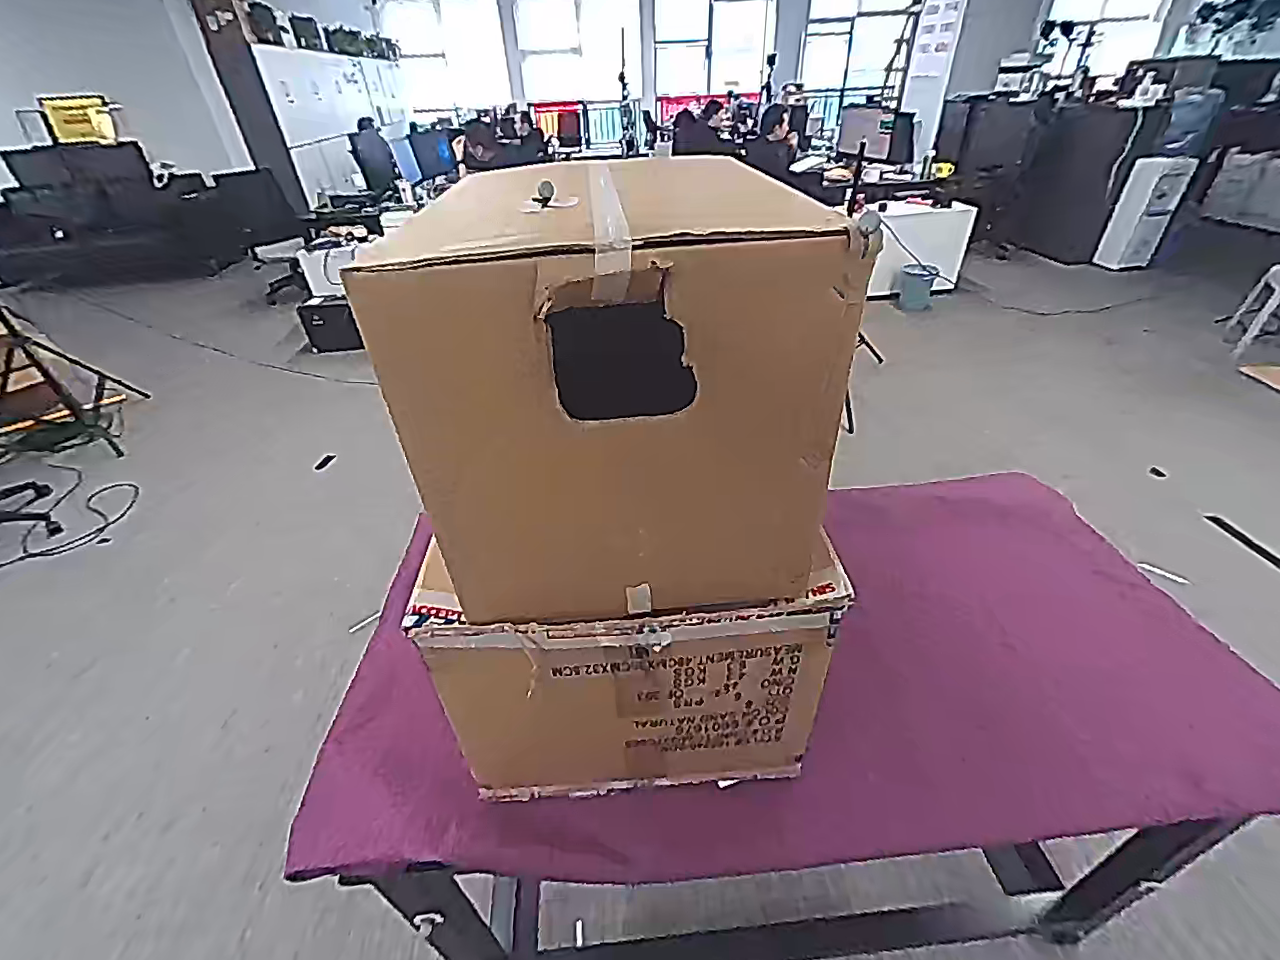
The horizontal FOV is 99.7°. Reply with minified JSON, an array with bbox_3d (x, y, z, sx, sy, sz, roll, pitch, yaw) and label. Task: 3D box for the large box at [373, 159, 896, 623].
[{"bbox_3d":[-0.014,-0.121,0.554,0.320,0.320,0.408,-6,37,-2],"label":"large box"}]
